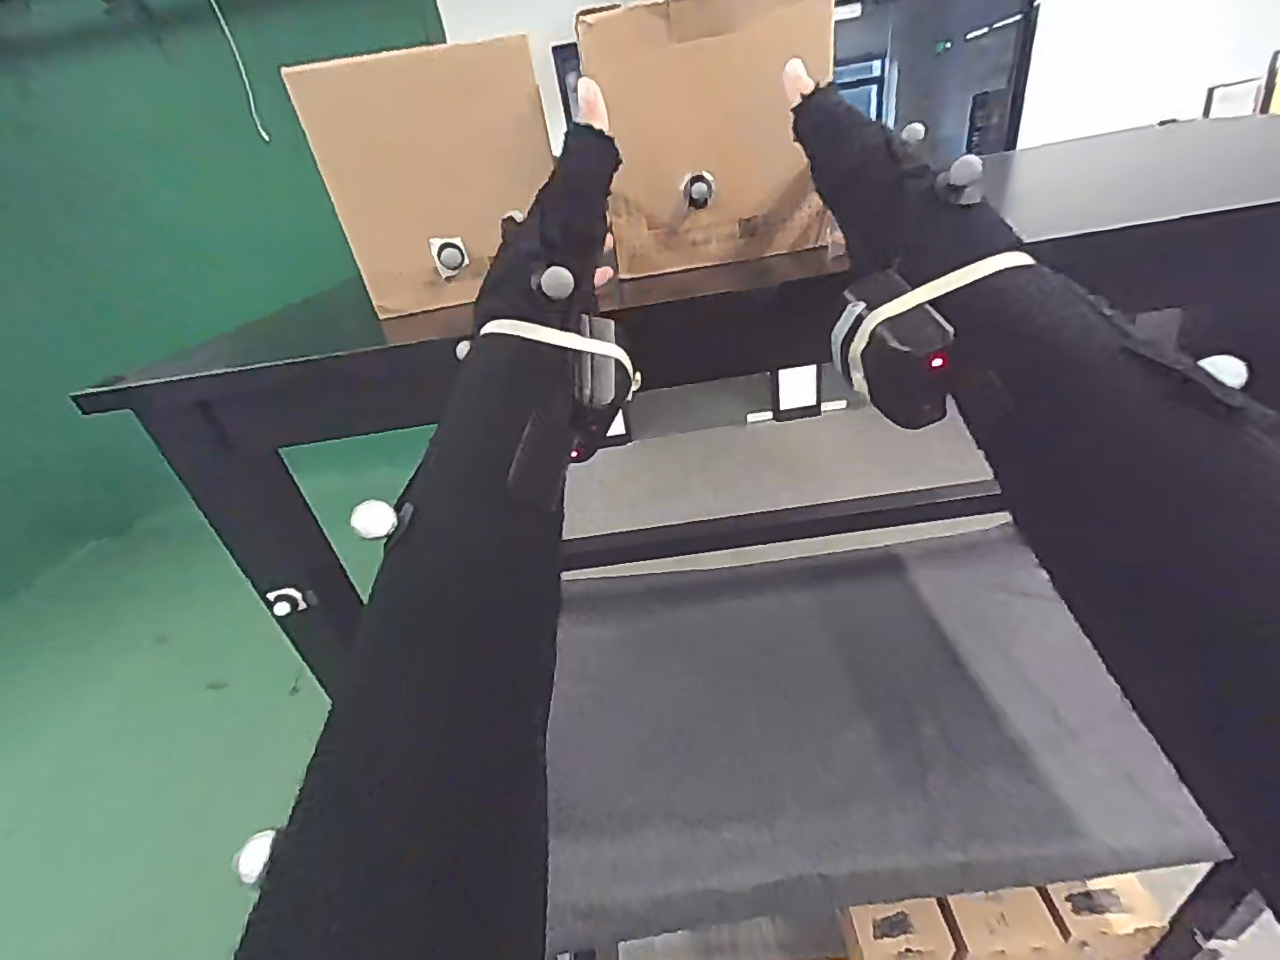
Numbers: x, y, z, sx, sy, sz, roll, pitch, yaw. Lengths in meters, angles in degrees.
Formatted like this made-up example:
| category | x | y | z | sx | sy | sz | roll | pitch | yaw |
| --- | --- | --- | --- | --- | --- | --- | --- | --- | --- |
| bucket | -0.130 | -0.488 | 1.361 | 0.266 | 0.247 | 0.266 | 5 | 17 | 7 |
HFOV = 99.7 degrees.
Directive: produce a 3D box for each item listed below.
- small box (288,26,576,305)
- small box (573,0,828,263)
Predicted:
| category | x | y | z | sx | sy | sz | roll | pitch | yaw |
| --- | --- | --- | --- | --- | --- | --- | --- | --- | --- |
| small box | -0.160 | -0.264 | 0.477 | 0.168 | 0.176 | 0.179 | -15 | 31 | -6 |
| small box | 0.047 | -0.288 | 0.453 | 0.168 | 0.176 | 0.179 | -9 | 30 | 3 |
